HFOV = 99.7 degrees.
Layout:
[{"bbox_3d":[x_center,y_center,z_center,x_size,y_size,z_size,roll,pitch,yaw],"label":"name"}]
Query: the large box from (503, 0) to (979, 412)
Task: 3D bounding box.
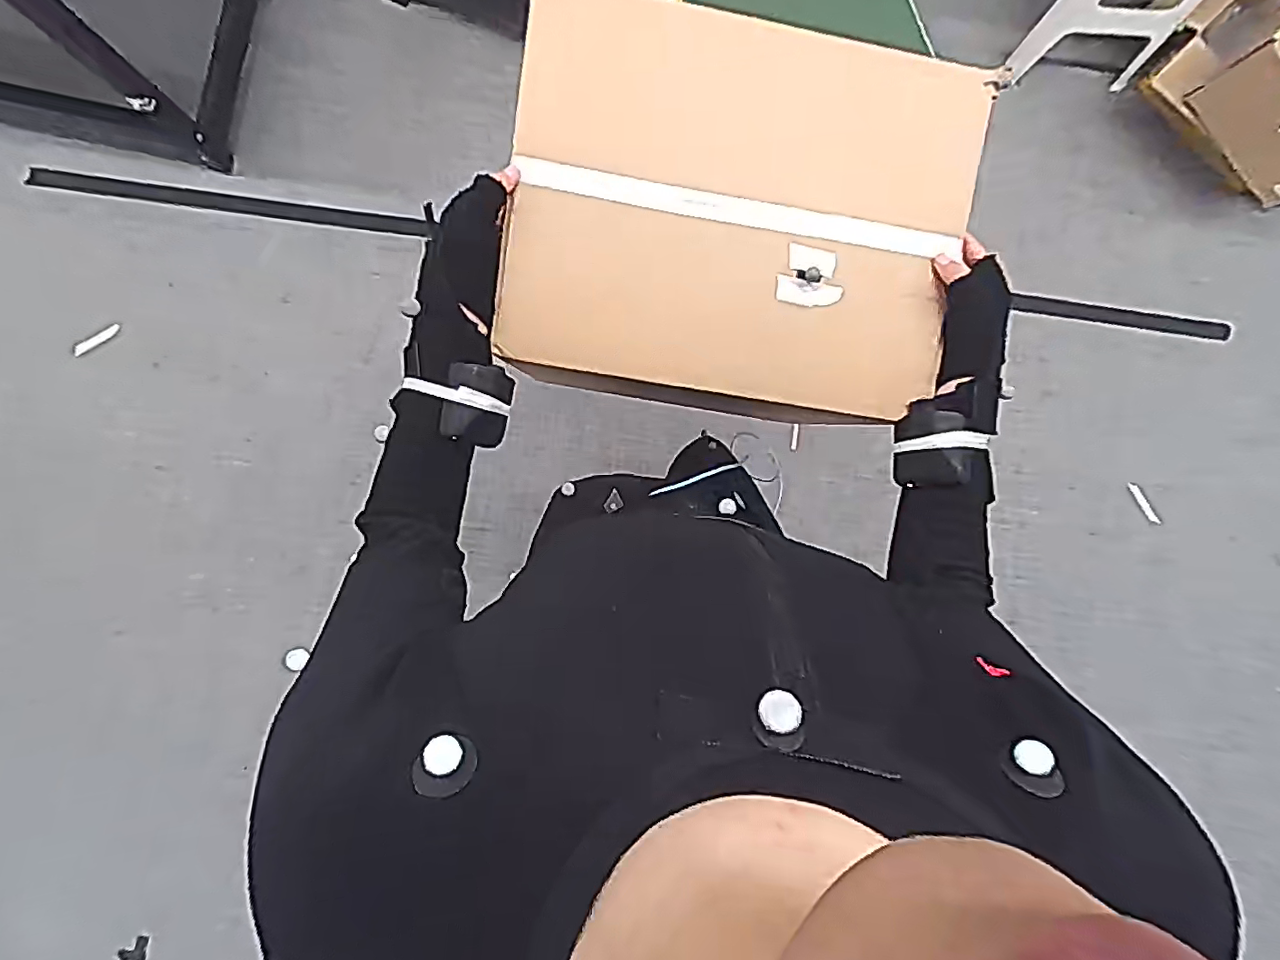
[{"bbox_3d":[0.079,-0.263,0.634,0.408,0.320,0.320,9,97,-6],"label":"large box"}]
